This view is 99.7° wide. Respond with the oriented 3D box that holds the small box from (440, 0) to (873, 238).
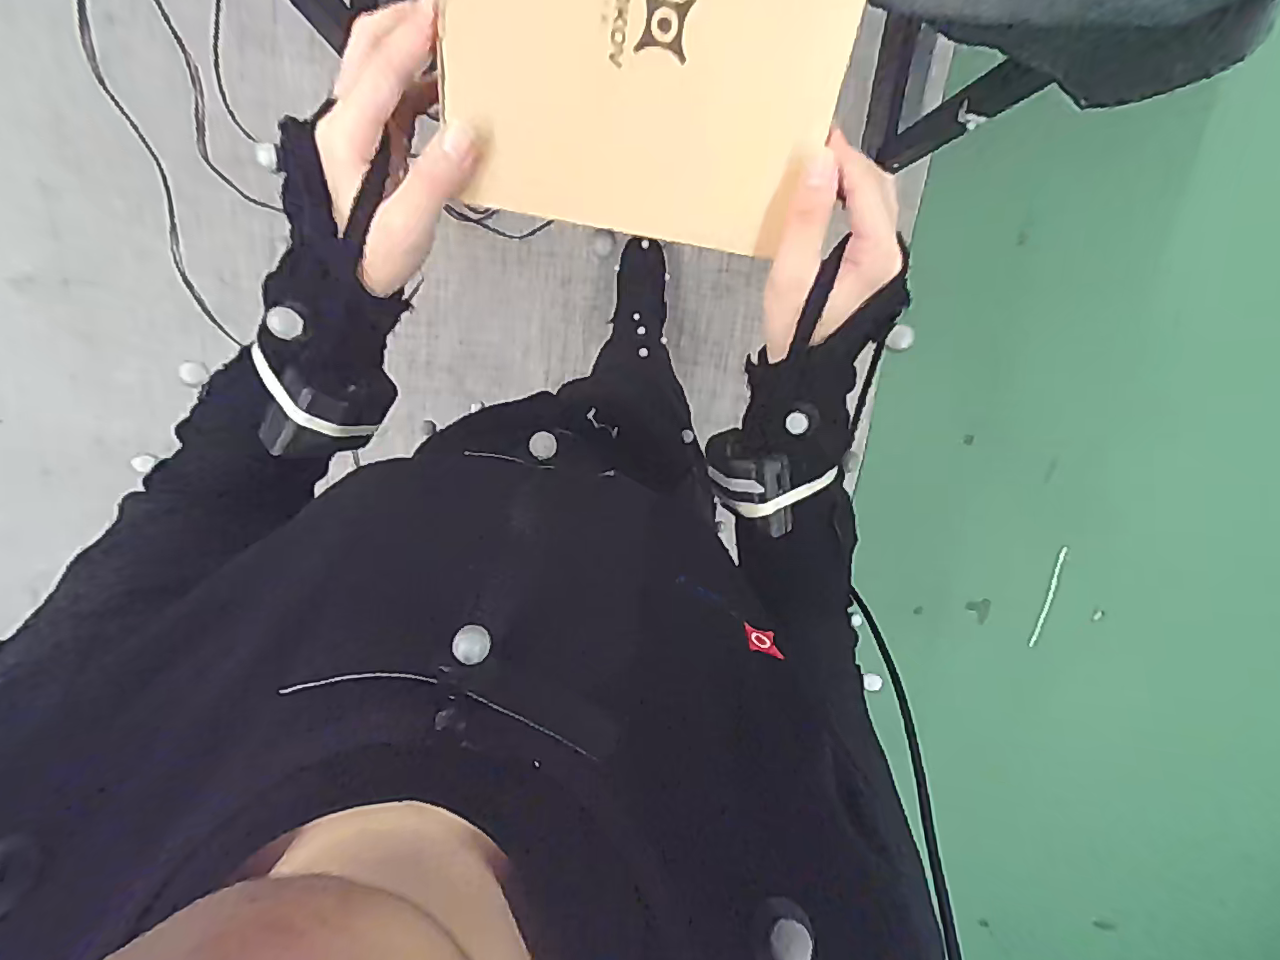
[{"bbox_3d":[0.003,-0.240,0.283,0.179,0.176,0.168,6,120,-9],"label":"small box"}]
